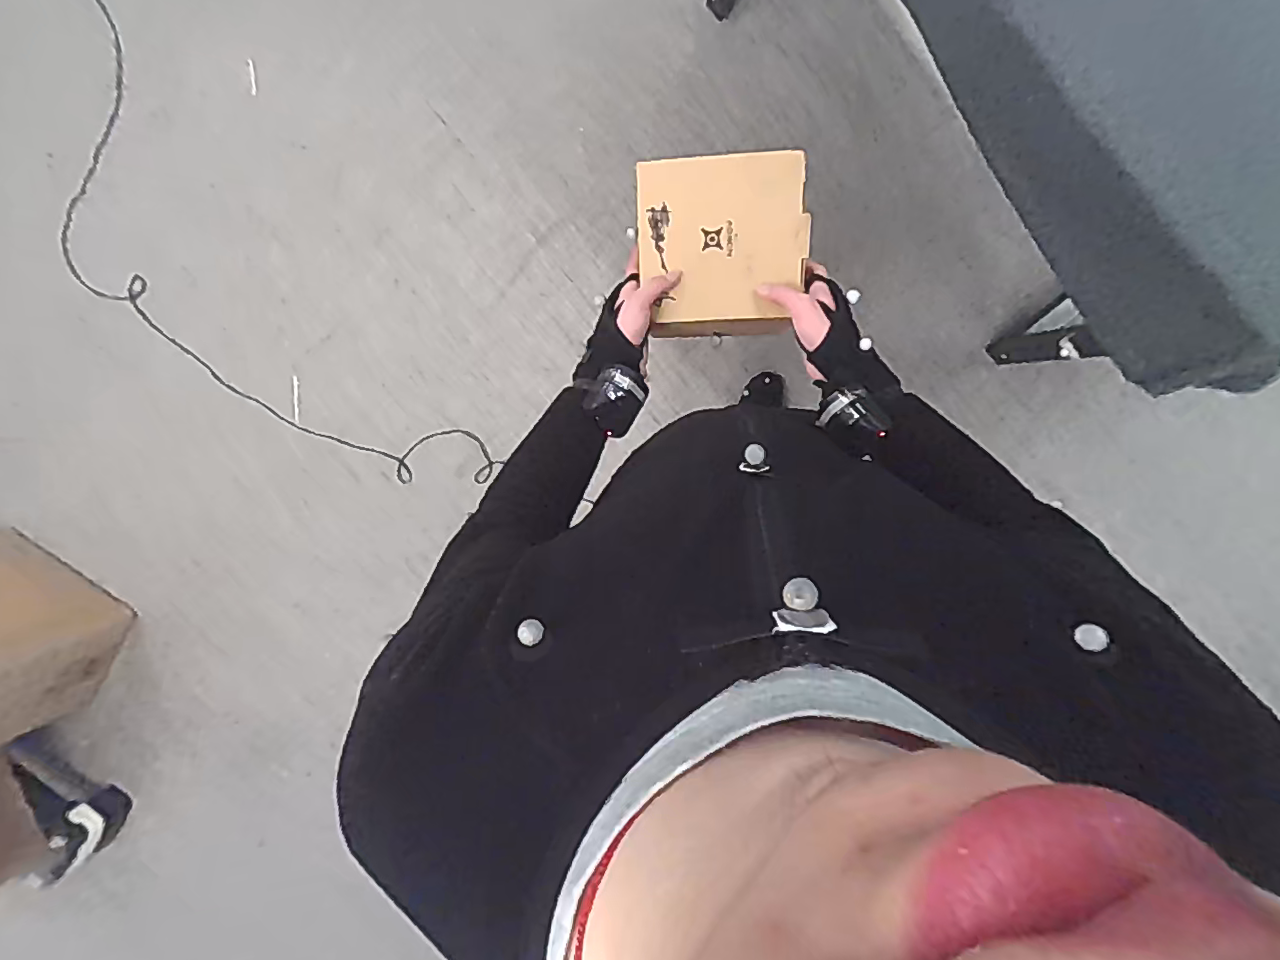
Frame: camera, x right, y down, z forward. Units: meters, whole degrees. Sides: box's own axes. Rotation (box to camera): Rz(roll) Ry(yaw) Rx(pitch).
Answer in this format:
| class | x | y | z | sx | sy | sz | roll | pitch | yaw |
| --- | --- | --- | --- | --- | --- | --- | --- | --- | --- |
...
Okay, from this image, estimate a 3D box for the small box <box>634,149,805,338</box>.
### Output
| class | x | y | z | sx | sy | sz | roll | pitch | yaw |
| --- | --- | --- | --- | --- | --- | --- | --- | --- | --- |
| small box | 0.086 | -0.263 | 0.639 | 0.179 | 0.176 | 0.168 | -1 | 98 | 5 |
